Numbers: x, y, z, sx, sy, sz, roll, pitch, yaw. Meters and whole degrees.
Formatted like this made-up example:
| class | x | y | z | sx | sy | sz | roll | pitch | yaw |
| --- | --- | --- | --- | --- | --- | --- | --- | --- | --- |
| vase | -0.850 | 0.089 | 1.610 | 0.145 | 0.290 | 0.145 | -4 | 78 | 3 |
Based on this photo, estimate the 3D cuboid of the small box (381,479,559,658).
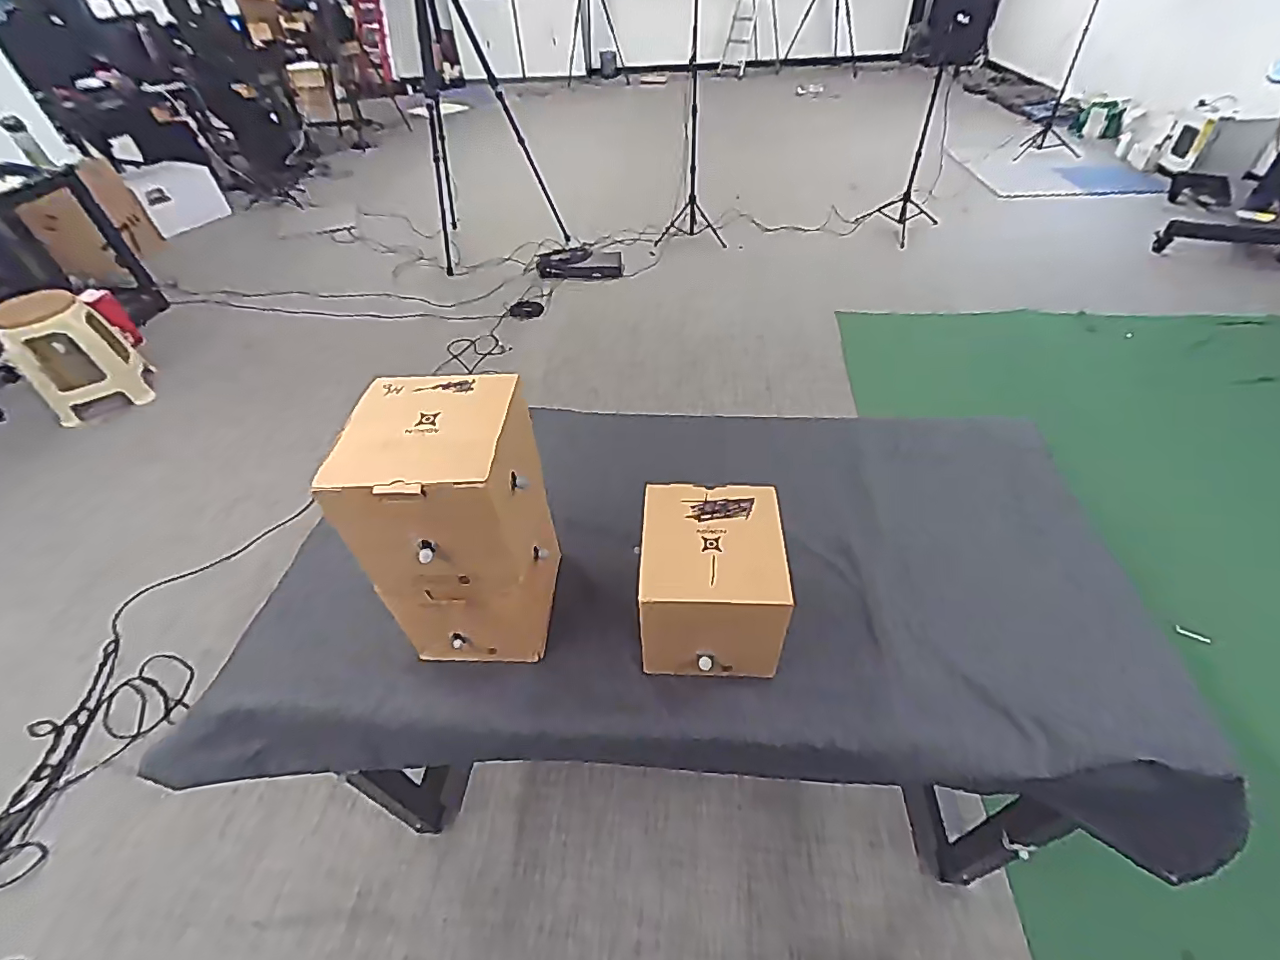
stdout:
| class | x | y | z | sx | sy | sz | roll | pitch | yaw |
| --- | --- | --- | --- | --- | --- | --- | --- | --- | --- |
| small box | -0.207 | 0.115 | 0.719 | 0.168 | 0.176 | 0.179 | 0 | 45 | 3 |

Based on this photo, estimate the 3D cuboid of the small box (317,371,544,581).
| class | x | y | z | sx | sy | sz | roll | pitch | yaw |
| --- | --- | --- | --- | --- | --- | --- | --- | --- | --- |
| small box | -0.209 | 0.000 | 0.602 | 0.168 | 0.176 | 0.179 | -1 | 46 | 2 |

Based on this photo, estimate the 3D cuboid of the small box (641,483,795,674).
| class | x | y | z | sx | sy | sz | roll | pitch | yaw |
| --- | --- | --- | --- | --- | --- | --- | --- | --- | --- |
| small box | 0.091 | 0.123 | 0.686 | 0.168 | 0.176 | 0.179 | 0 | 44 | 5 |
